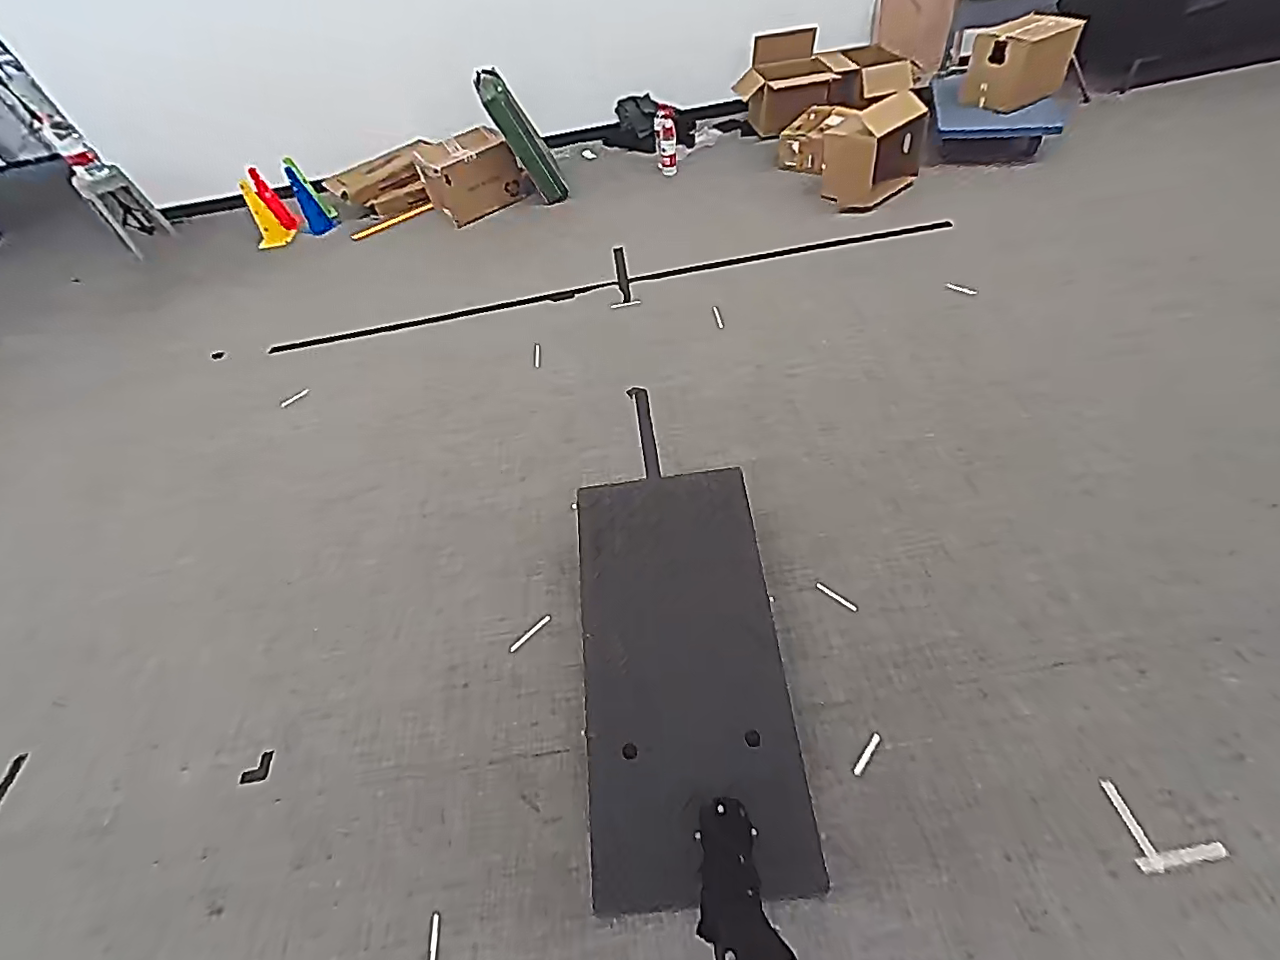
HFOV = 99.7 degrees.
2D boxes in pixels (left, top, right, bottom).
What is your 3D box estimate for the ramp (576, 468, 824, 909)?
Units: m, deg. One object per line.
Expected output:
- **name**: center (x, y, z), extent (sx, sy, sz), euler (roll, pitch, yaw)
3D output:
- **ramp**: center (0.098, 0.432, 1.356), extent (0.509, 0.206, 0.991), euler (-8, 51, 1)
